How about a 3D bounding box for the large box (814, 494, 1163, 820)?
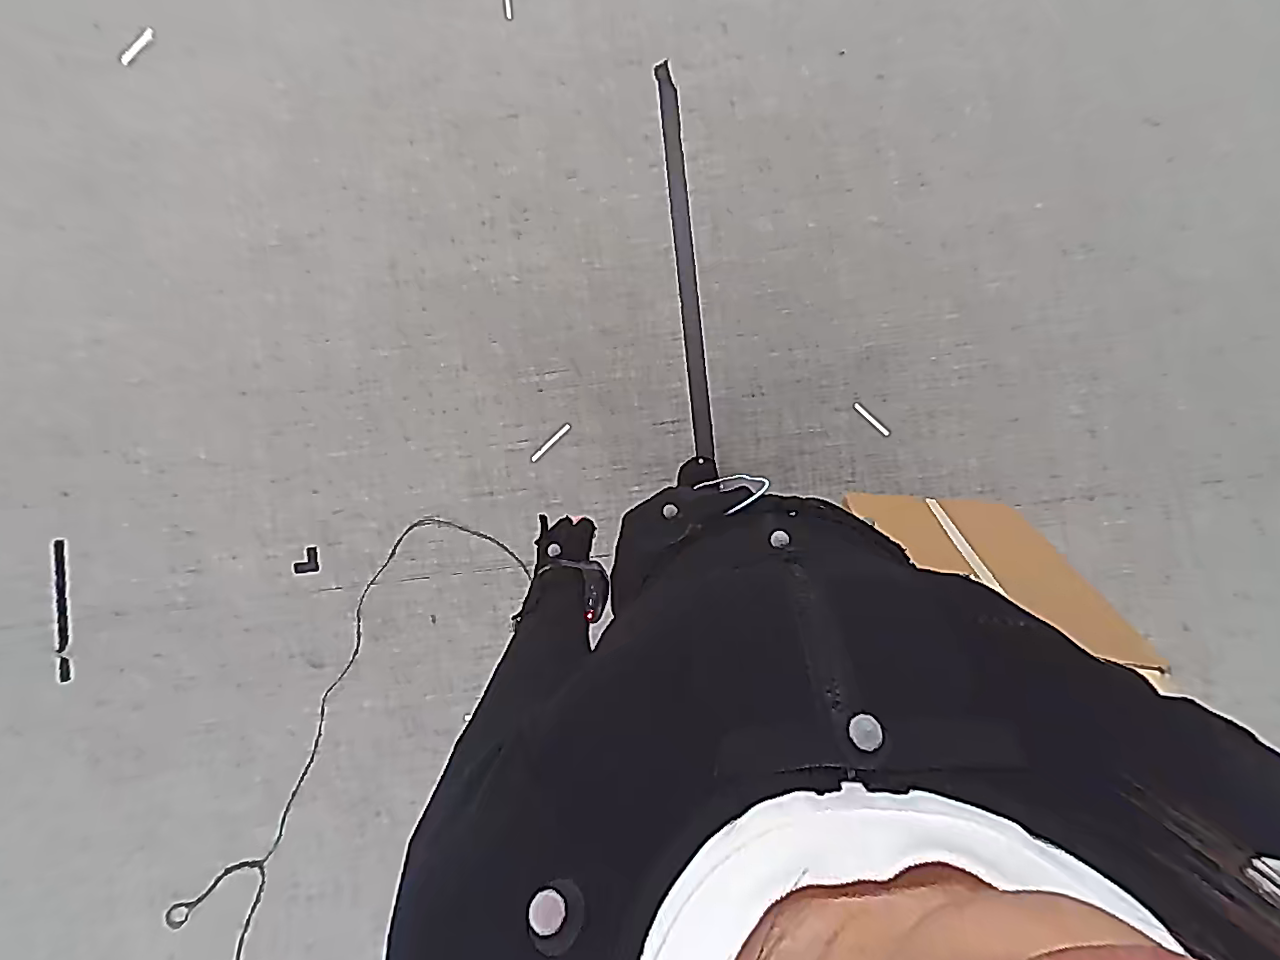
[{"bbox_3d":[0.503,0.265,0.910,0.320,0.408,0.320,5,119,7],"label":"large box"}]
